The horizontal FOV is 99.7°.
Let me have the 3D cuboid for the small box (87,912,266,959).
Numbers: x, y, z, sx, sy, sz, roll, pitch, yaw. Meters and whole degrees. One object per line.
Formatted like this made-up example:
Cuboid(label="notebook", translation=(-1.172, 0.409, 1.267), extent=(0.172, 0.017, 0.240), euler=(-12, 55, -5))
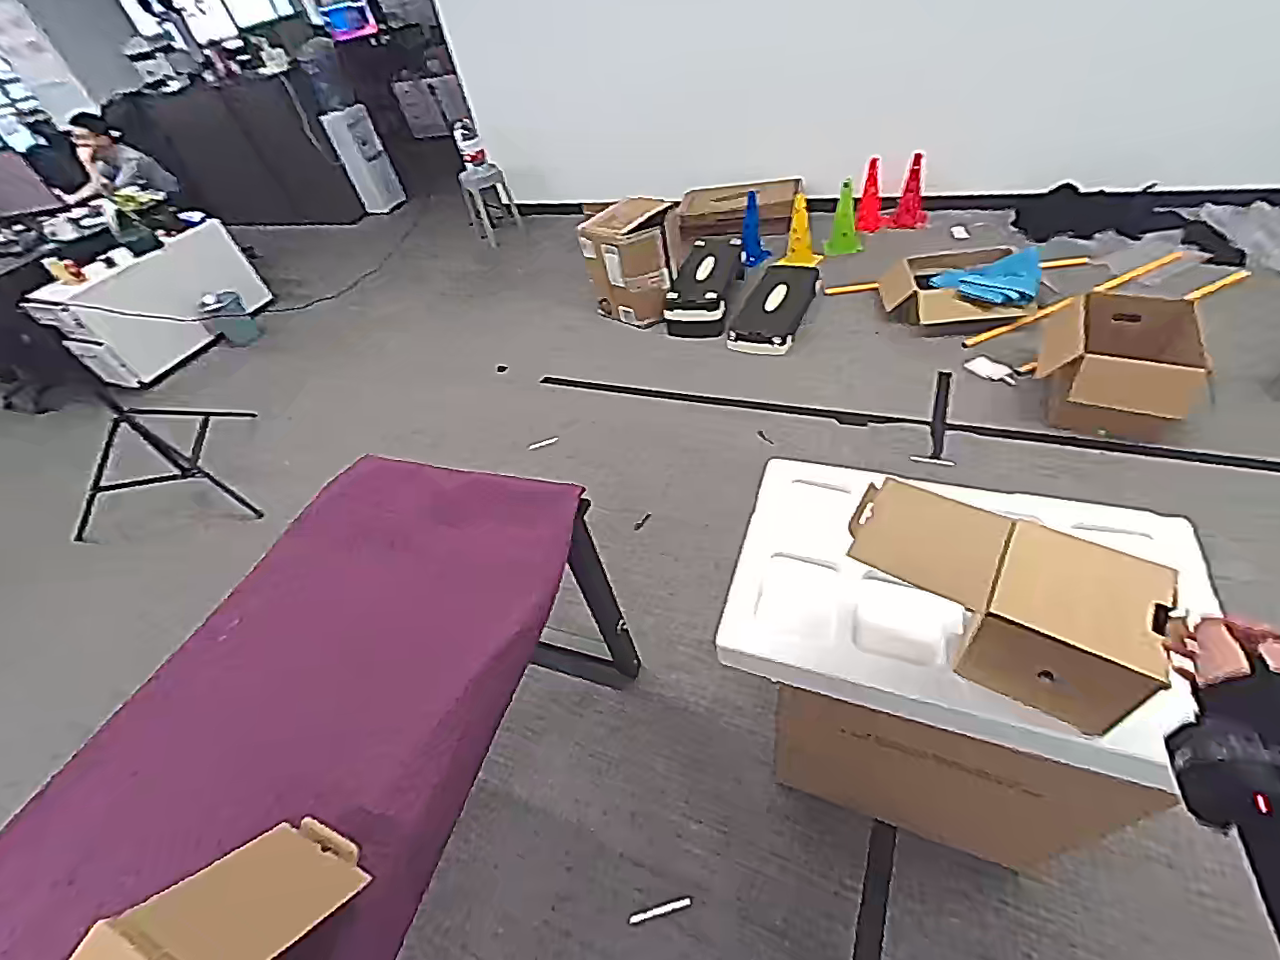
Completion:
Cuboid(label="small box", translation=(-0.479, 0.577, 0.536), extent=(0.168, 0.176, 0.179), euler=(11, 51, 23))
